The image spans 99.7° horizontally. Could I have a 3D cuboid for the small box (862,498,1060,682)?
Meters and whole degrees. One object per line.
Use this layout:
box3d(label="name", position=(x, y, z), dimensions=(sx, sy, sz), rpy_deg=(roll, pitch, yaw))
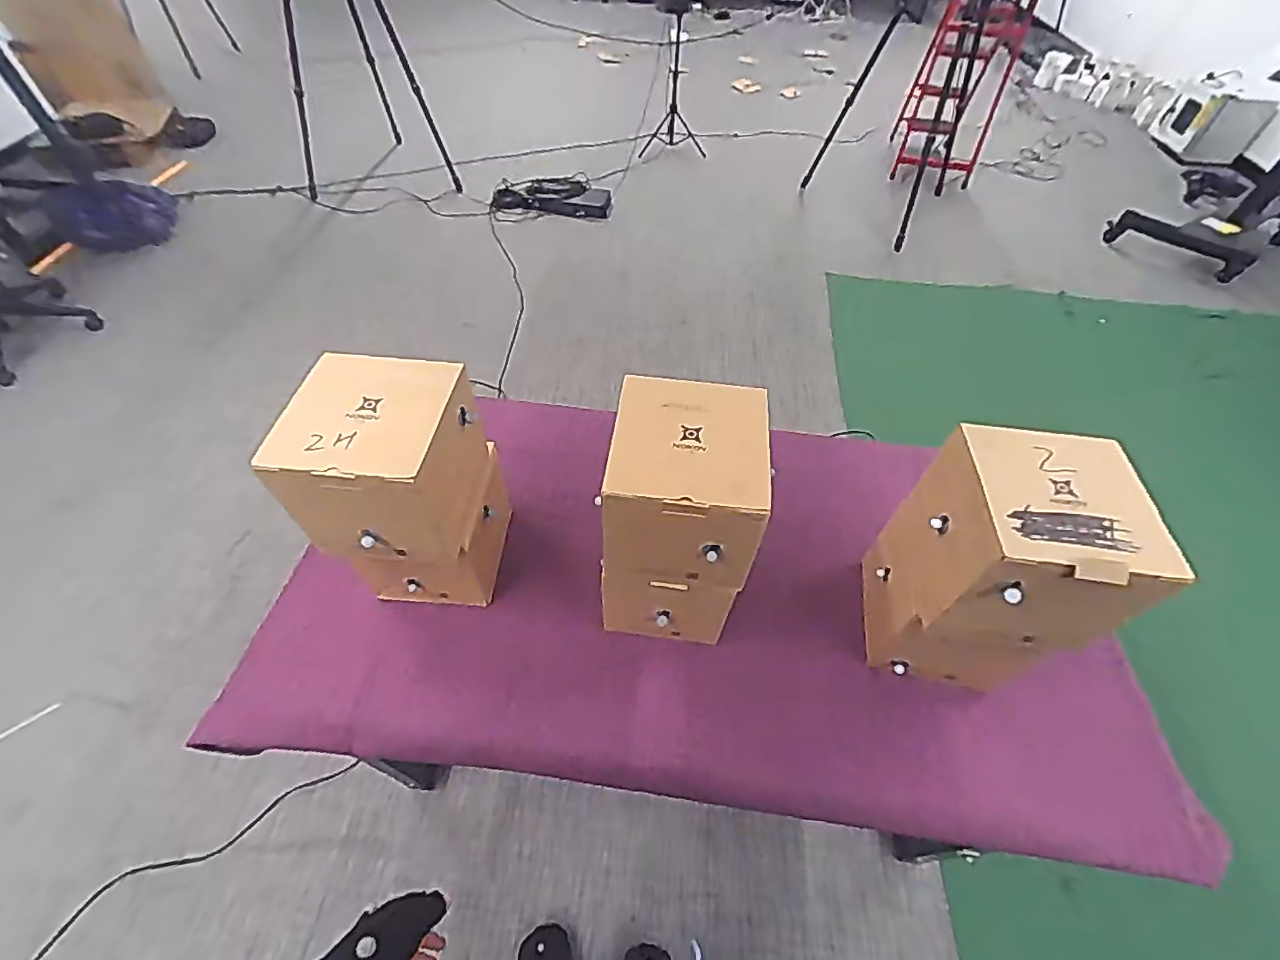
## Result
box3d(label="small box", position=(0.414, 0.154, 0.735), dimensions=(0.168, 0.176, 0.179), rpy_deg=(11, 52, 6))

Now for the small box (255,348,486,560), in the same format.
box3d(label="small box", position=(-0.290, -0.028, 0.635), dimensions=(0.168, 0.176, 0.179), rpy_deg=(5, 53, 1))

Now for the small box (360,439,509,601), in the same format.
box3d(label="small box", position=(-0.293, 0.054, 0.780), dimensions=(0.168, 0.176, 0.179), rpy_deg=(4, 53, 0))

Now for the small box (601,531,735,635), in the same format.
box3d(label="small box", position=(0.040, 0.102, 0.760), dimensions=(0.168, 0.176, 0.179), rpy_deg=(4, 51, 2))

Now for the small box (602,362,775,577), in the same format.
box3d(label="small box", position=(0.054, -0.007, 0.615), dimensions=(0.168, 0.176, 0.179), rpy_deg=(6, 52, 3))
